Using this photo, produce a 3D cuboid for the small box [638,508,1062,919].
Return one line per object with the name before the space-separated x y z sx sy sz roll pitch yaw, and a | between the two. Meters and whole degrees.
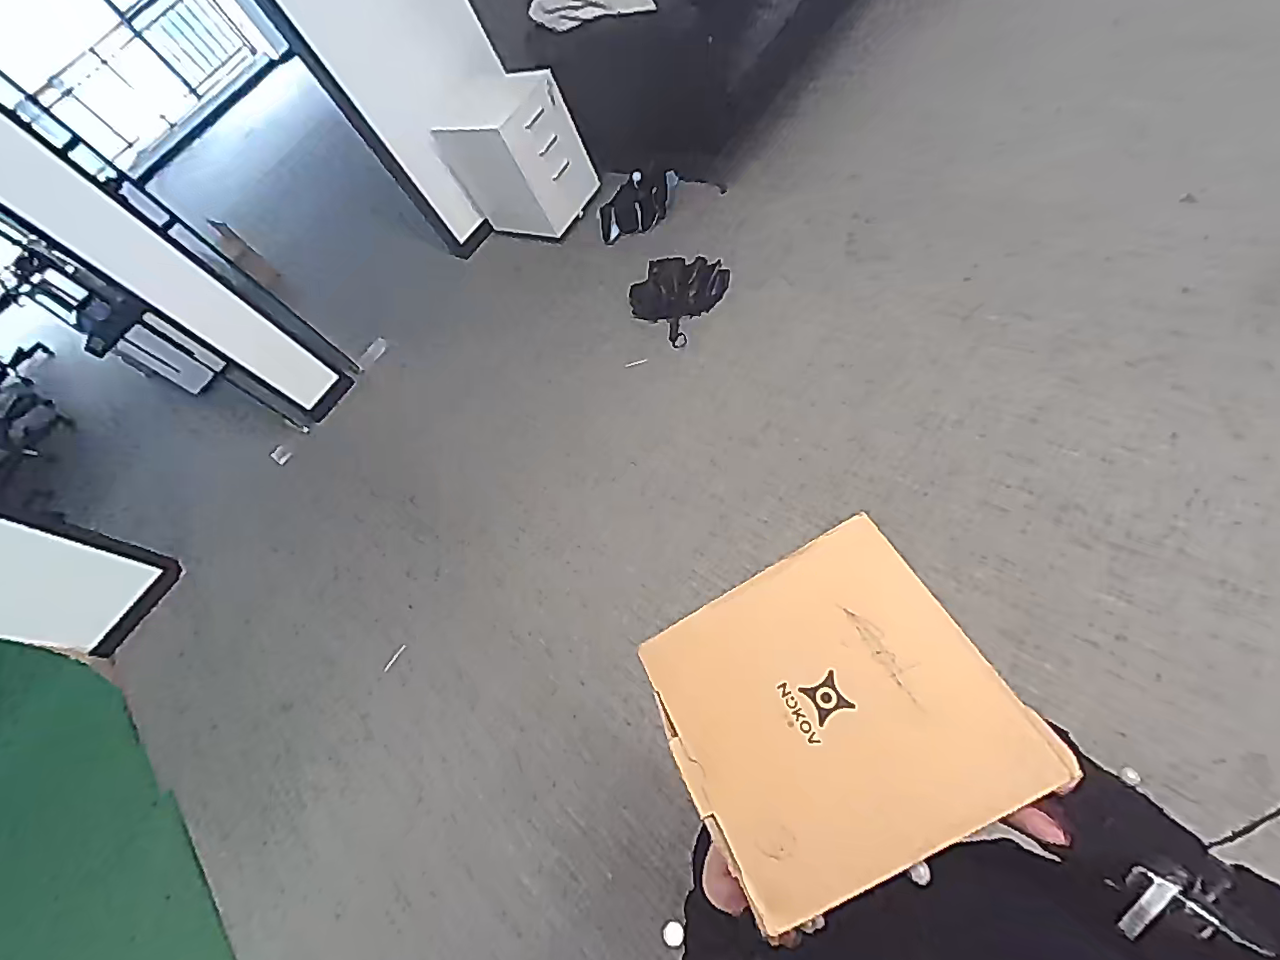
small box | 0.130 0.155 0.378 0.179 0.176 0.168 -33 59 4
